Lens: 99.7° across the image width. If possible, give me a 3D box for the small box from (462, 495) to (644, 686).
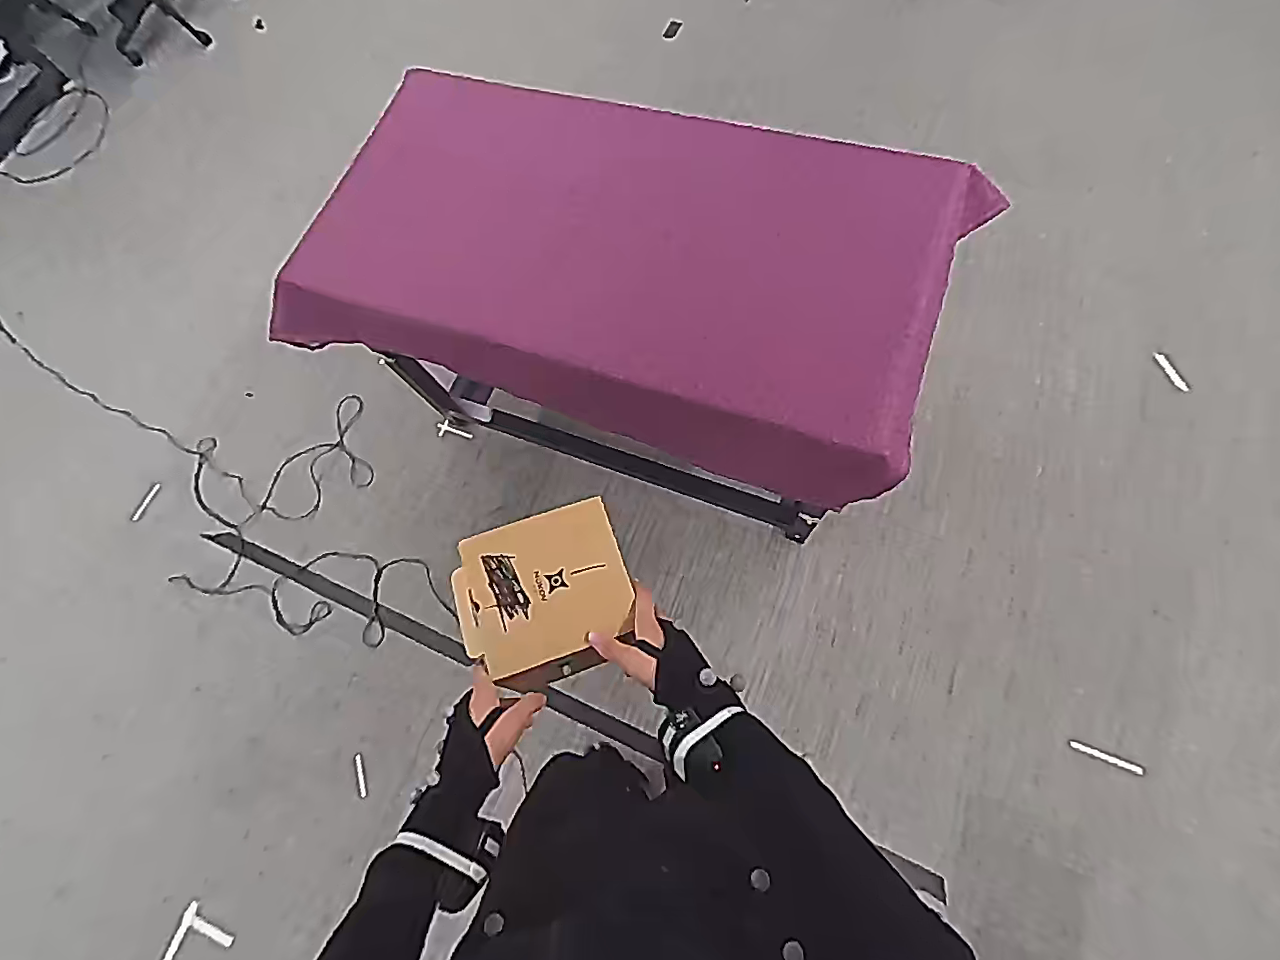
[{"bbox_3d":[-0.100,0.146,0.678,0.179,0.176,0.168,-17,66,-9],"label":"small box"}]
